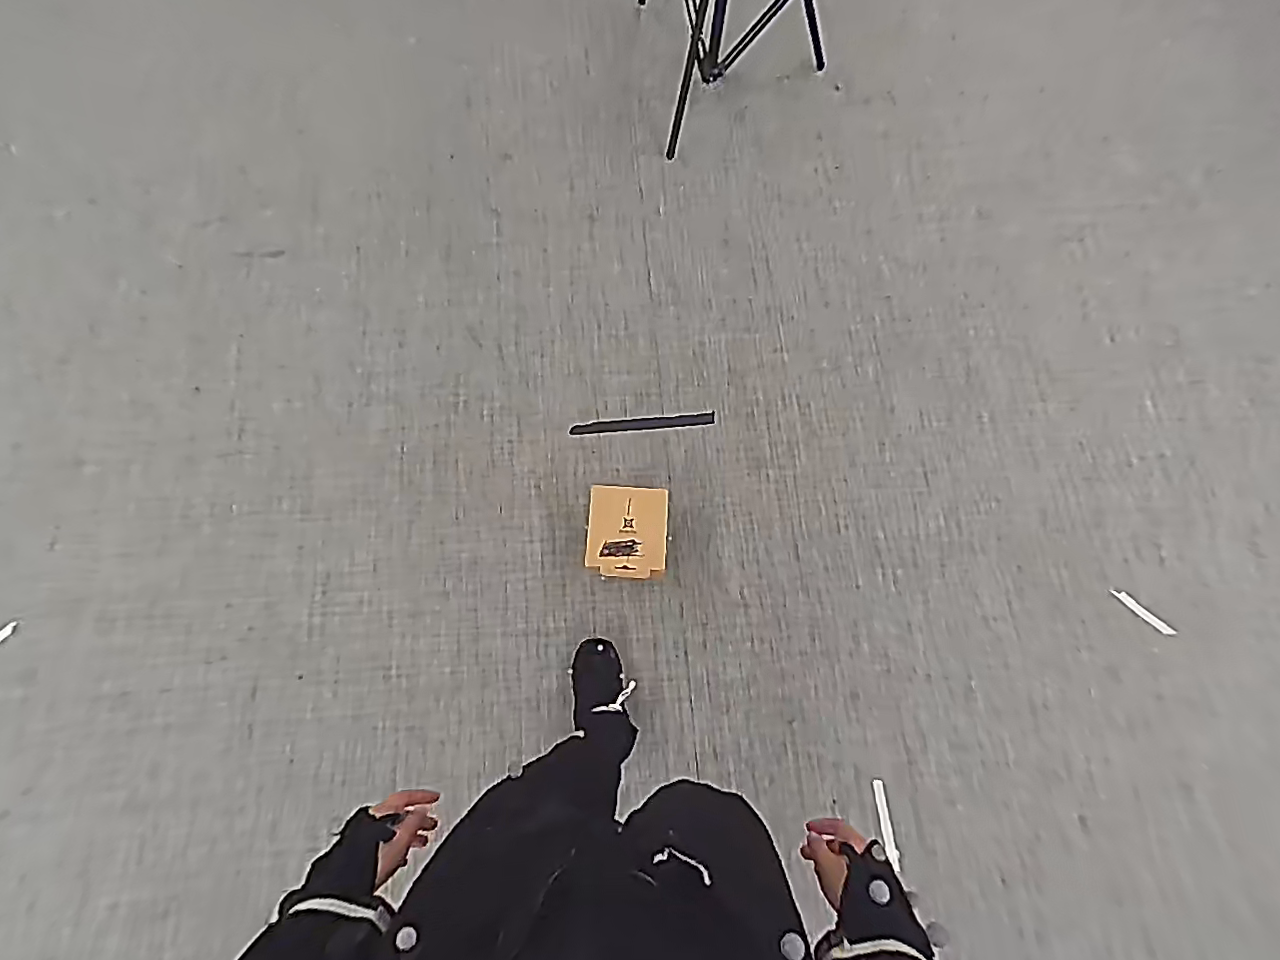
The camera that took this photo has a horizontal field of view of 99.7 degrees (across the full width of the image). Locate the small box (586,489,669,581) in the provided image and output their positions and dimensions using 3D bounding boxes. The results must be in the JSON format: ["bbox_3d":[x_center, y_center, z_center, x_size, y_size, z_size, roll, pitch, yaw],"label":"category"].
[{"bbox_3d":[-0.024,0.128,1.198,0.168,0.176,0.179,3,74,0],"label":"small box"}]
